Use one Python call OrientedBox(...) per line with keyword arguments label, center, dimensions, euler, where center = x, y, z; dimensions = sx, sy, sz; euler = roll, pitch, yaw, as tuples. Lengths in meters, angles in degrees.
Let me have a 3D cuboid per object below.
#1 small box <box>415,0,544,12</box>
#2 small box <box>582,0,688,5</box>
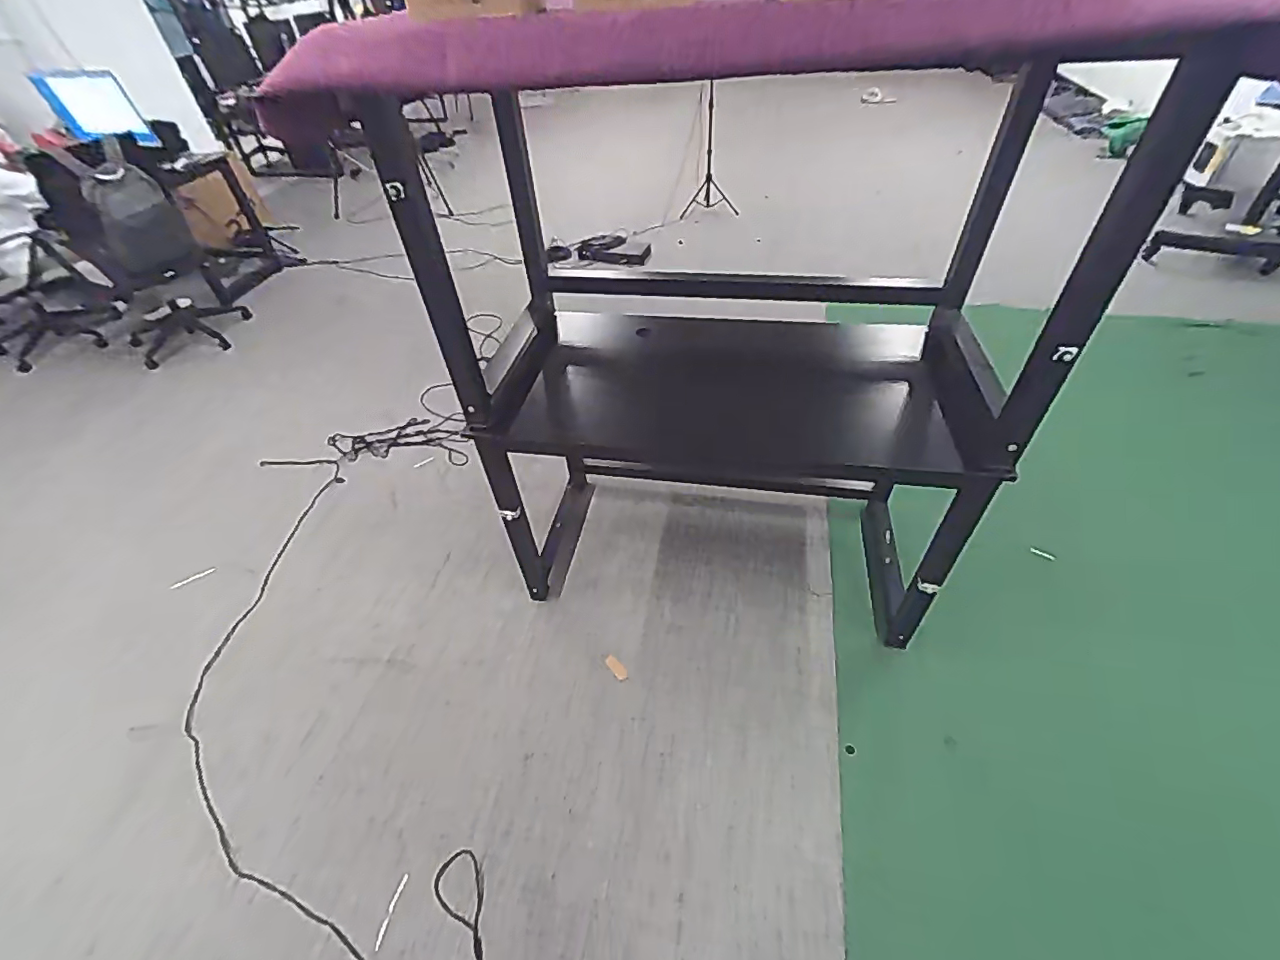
OrientedBox(label="small box", center=(-0.237, -0.774, 0.761), dimensions=(0.168, 0.176, 0.179), euler=(2, 44, 4))
OrientedBox(label="small box", center=(0.002, -0.759, 0.730), dimensions=(0.168, 0.176, 0.179), euler=(3, 45, 6))
